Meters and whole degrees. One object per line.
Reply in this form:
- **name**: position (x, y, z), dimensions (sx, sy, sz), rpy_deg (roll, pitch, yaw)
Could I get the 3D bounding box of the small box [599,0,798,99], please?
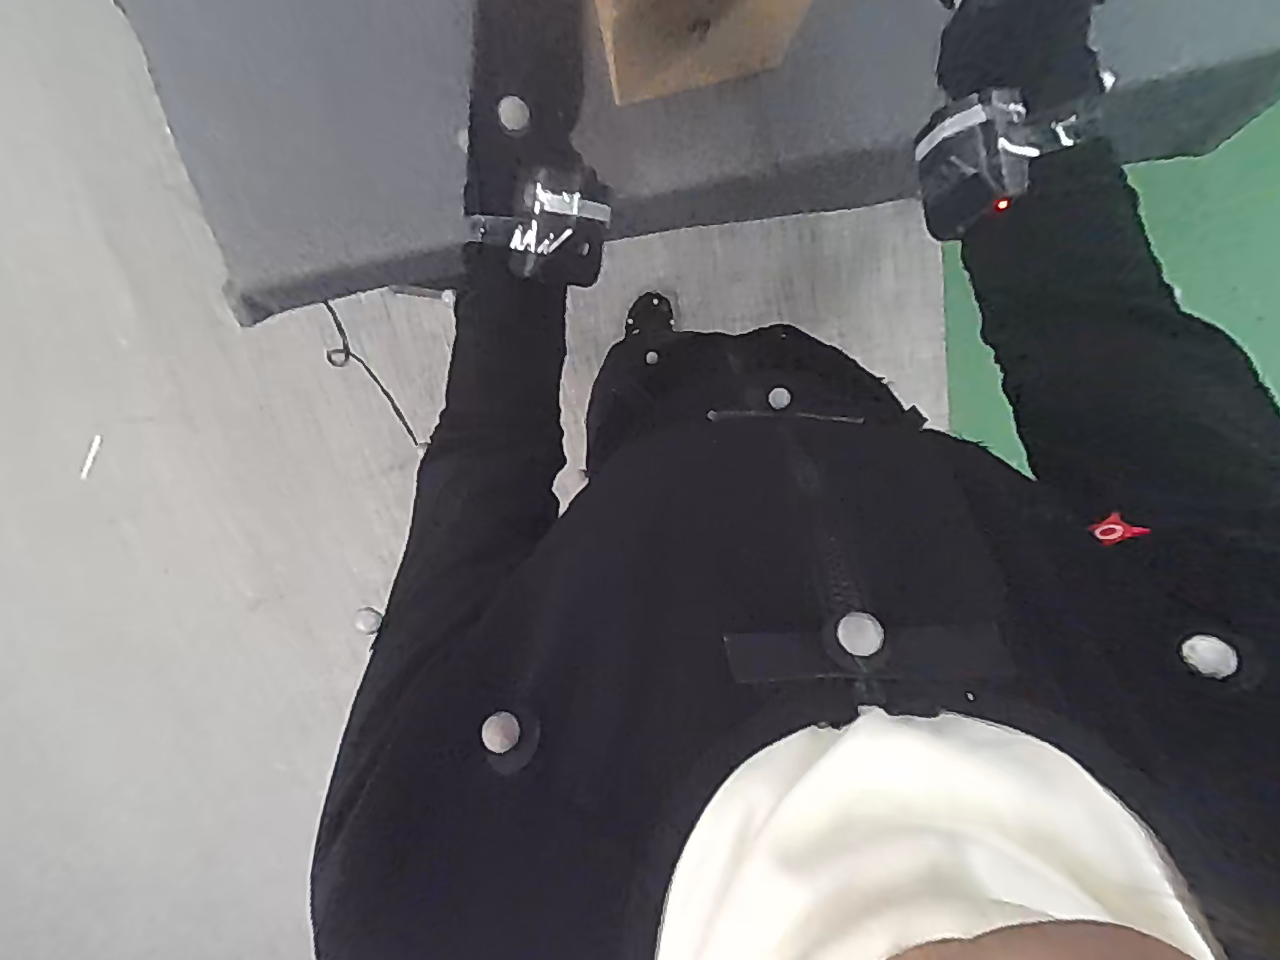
- **small box**: position (0.044, -0.476, 0.481), dimensions (0.179, 0.176, 0.168), rpy_deg (-12, 105, 2)
